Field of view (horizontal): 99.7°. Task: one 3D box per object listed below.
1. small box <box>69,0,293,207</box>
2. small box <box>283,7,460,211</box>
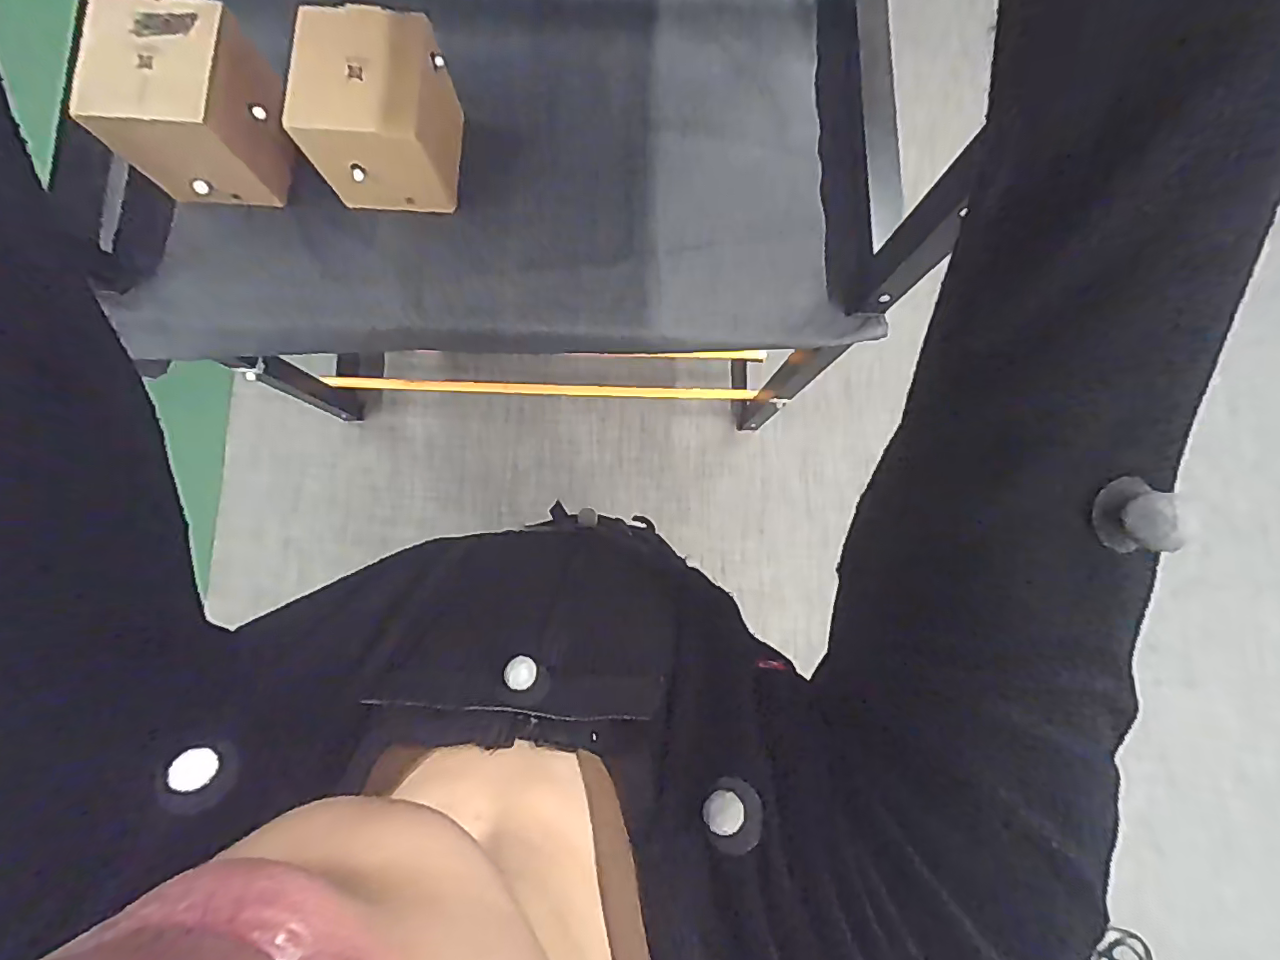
[{"bbox_3d":[-0.617,-0.517,0.755,0.168,0.176,0.179,2,83,-2],"label":"small box"},{"bbox_3d":[-0.365,-0.510,0.767,0.168,0.176,0.179,2,82,-2],"label":"small box"}]
